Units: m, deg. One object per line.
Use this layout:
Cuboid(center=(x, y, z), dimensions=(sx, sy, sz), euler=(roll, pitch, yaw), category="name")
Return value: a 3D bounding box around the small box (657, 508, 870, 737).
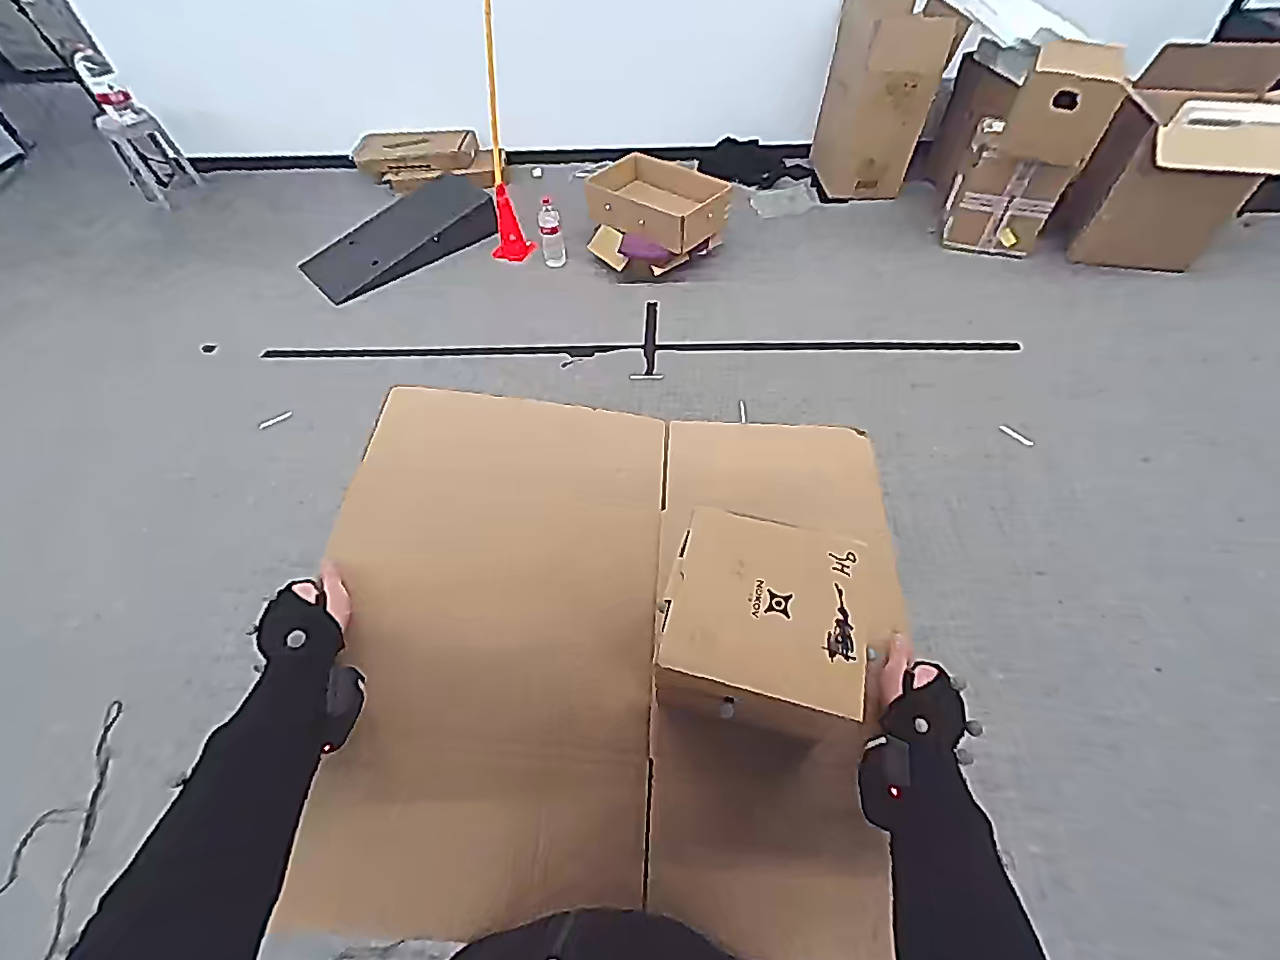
Cuboid(center=(0.123, 0.154, 0.567), dimensions=(0.179, 0.176, 0.168), euler=(12, 59, 11), category="small box")
